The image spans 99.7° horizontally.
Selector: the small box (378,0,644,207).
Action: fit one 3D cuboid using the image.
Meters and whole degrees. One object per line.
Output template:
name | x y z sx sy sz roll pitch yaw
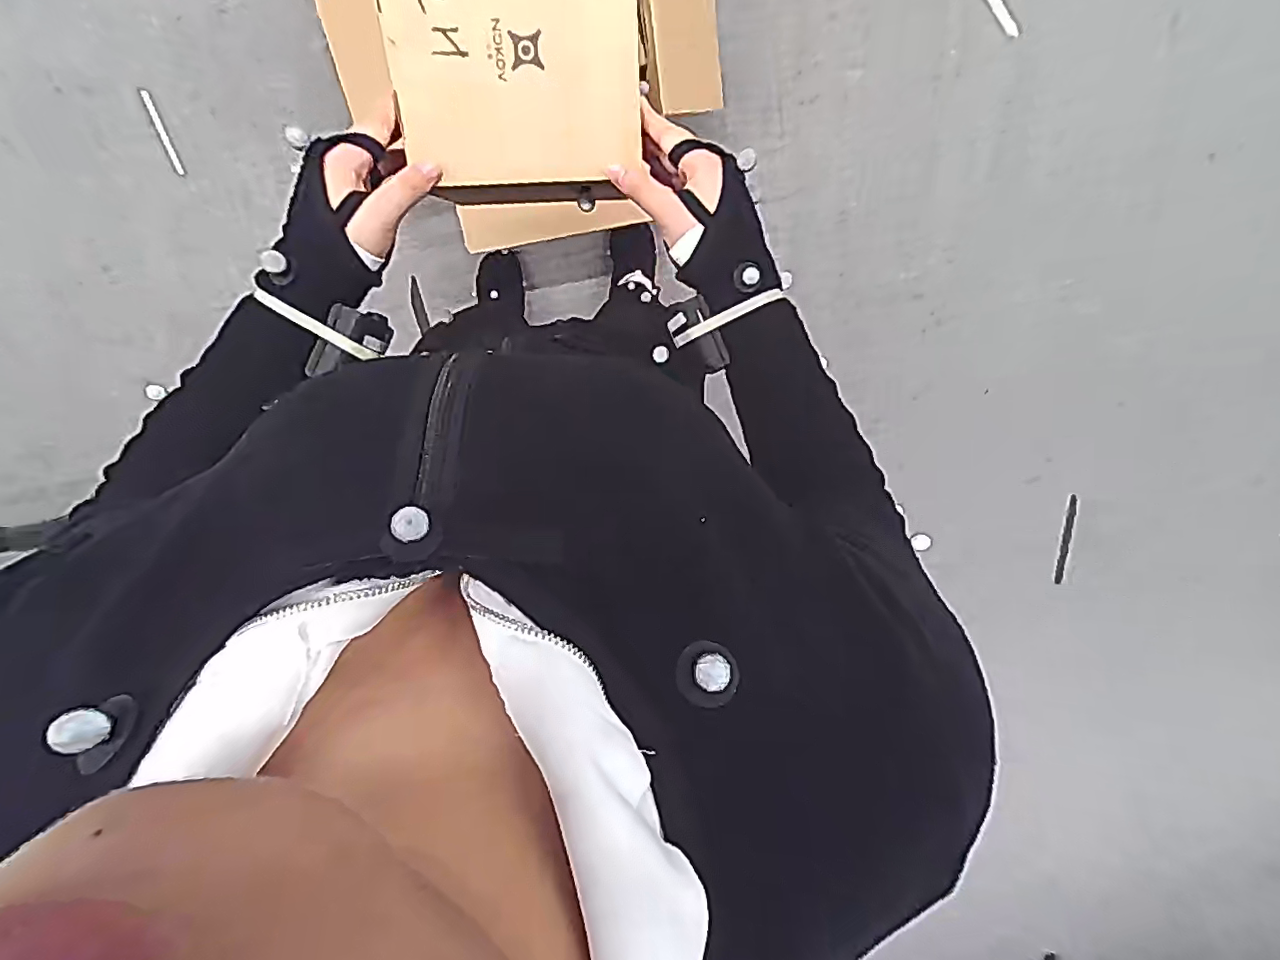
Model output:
small box | -0.094 -0.328 0.450 0.179 0.176 0.168 -4 113 -3
